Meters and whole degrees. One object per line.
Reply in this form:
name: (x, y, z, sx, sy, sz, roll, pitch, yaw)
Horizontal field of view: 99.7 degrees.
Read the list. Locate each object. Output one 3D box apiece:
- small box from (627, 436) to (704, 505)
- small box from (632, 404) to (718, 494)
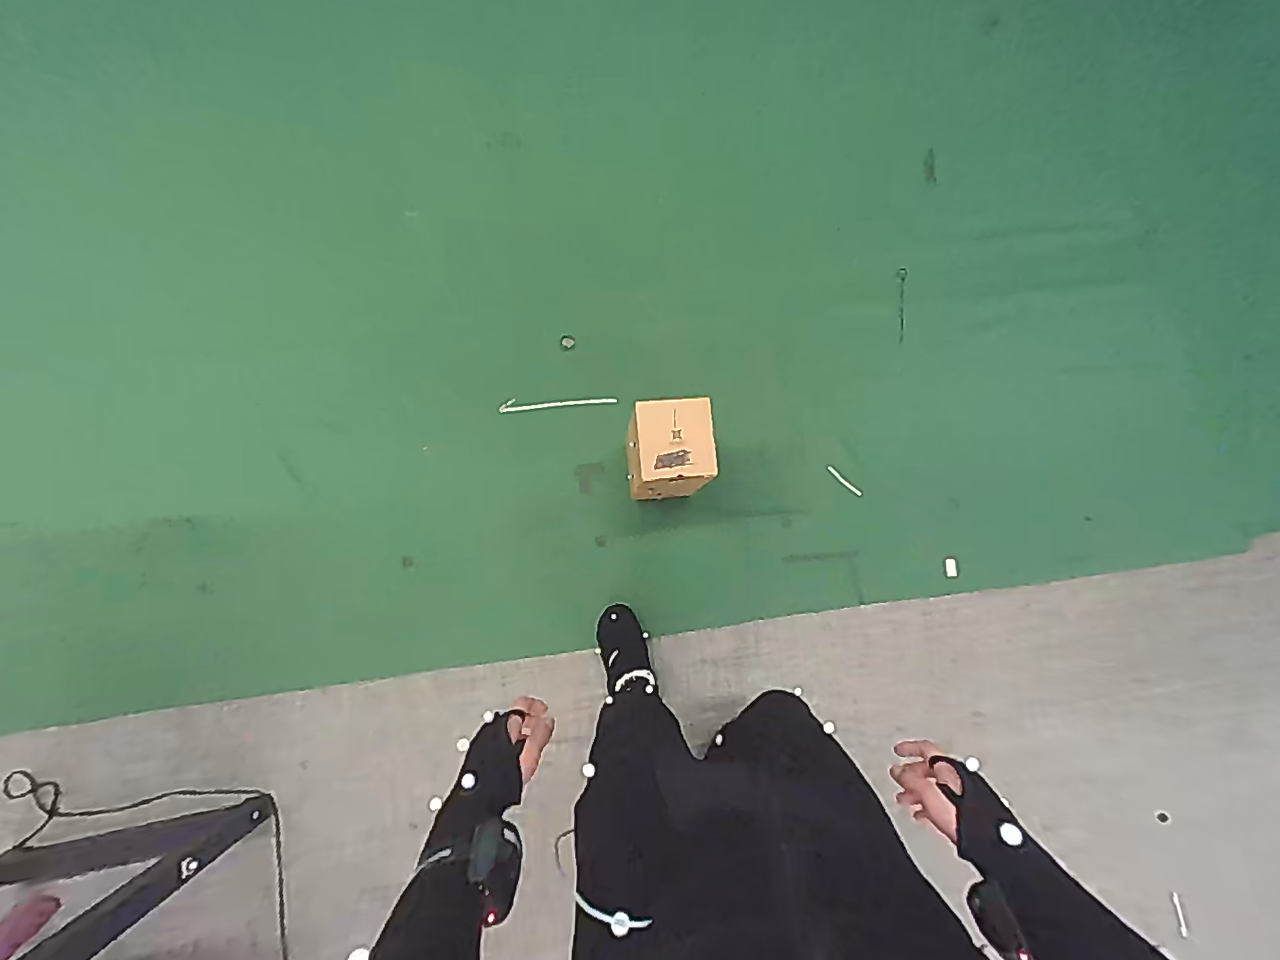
small box: (0.059, -0.037, 1.394, 0.168, 0.176, 0.179, -5, 82, -6)
small box: (0.073, -0.063, 1.233, 0.168, 0.176, 0.179, -4, 81, -6)
